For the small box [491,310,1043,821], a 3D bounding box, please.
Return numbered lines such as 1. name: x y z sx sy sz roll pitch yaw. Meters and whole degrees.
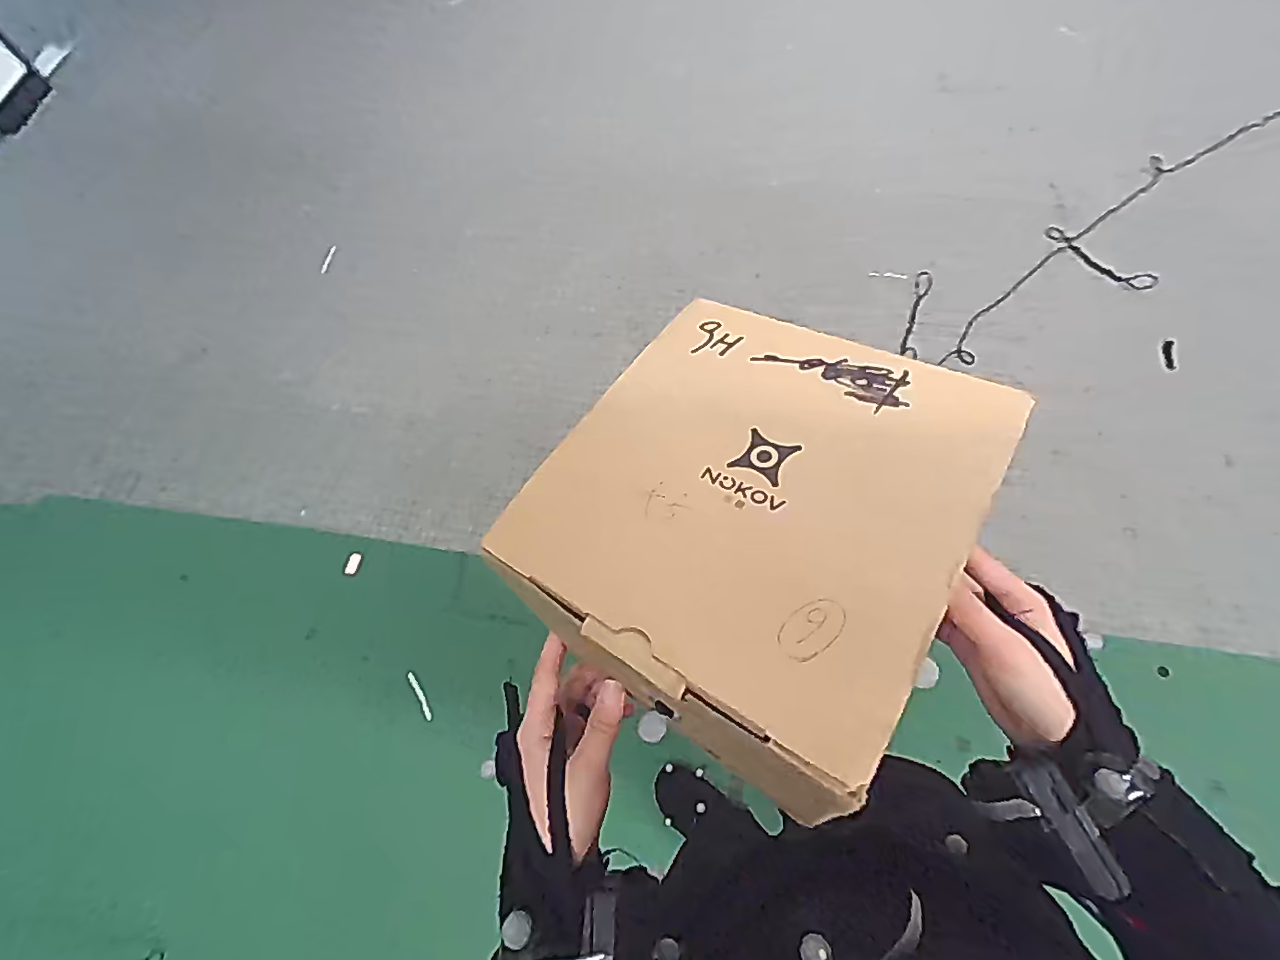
1. small box: 0.064 0.048 0.286 0.168 0.176 0.179 27 66 27
